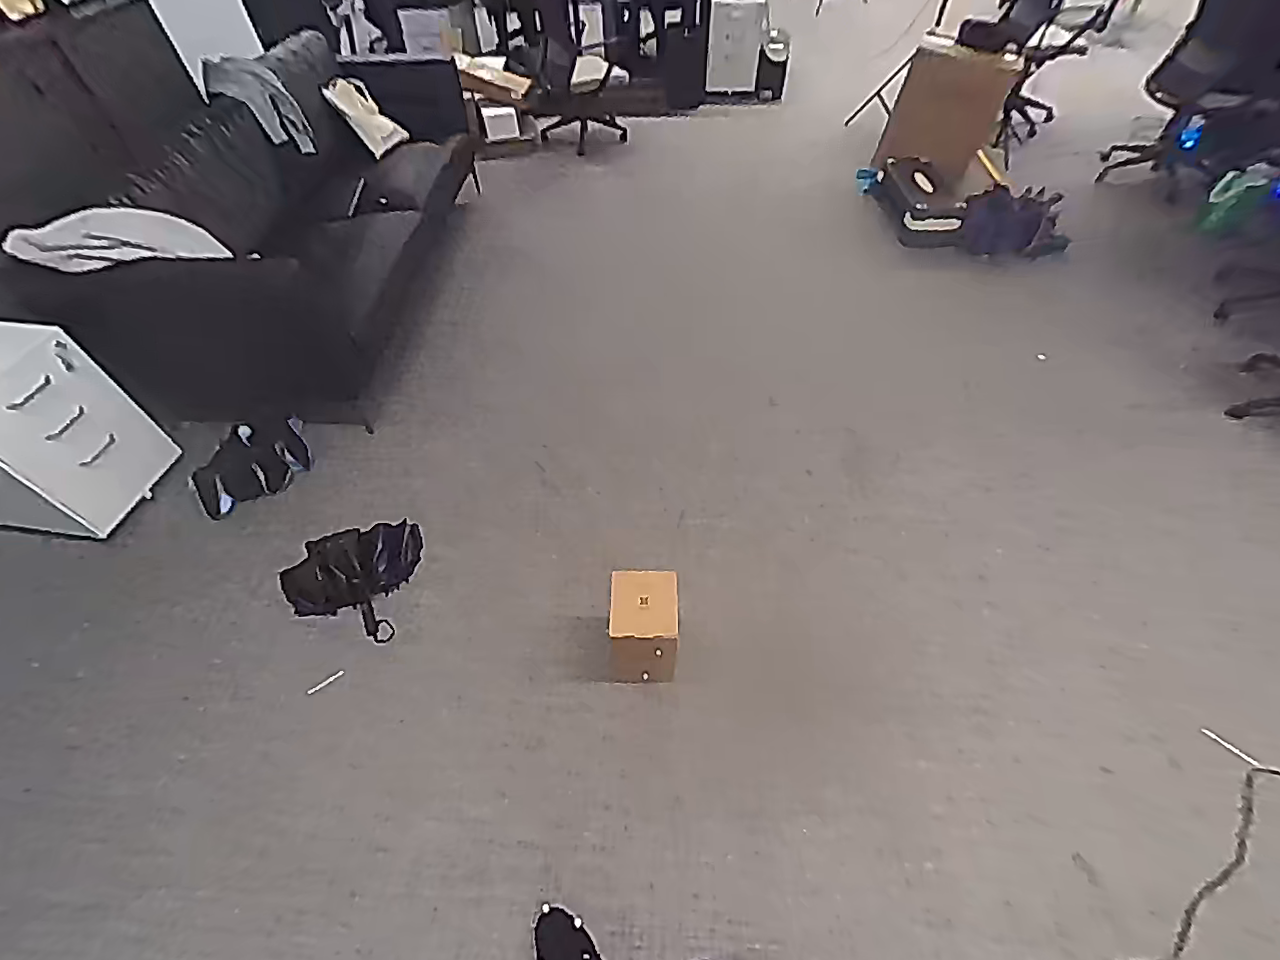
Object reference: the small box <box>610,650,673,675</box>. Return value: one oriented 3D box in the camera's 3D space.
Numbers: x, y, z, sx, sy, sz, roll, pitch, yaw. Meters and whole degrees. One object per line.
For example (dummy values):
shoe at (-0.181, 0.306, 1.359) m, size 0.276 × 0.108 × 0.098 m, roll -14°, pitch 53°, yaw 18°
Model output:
small box at (0.008, 0.434, 1.497) m, size 0.168 × 0.176 × 0.179 m, roll -1°, pitch 53°, yaw 1°

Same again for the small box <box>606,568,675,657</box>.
small box at (0.005, 0.339, 1.364) m, size 0.168 × 0.176 × 0.179 m, roll 0°, pitch 52°, yaw 0°
